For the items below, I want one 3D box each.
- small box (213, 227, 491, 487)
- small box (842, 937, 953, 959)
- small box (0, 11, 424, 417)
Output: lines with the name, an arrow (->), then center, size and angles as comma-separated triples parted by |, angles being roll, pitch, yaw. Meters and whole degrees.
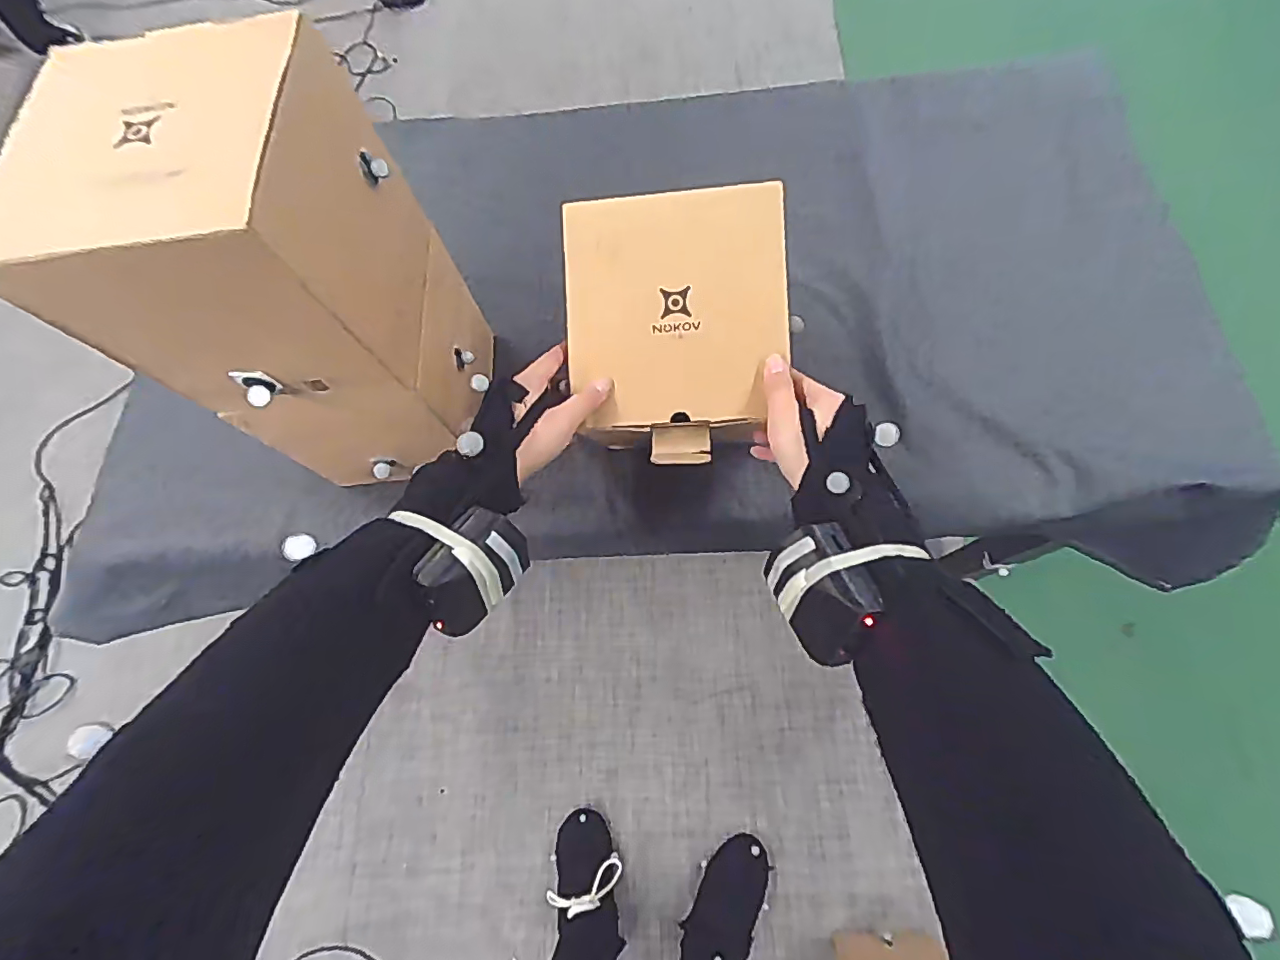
small box -> -0.252, -0.107, 0.523 | 0.168, 0.176, 0.179 | -6, 69, 3
small box -> 0.436, 0.872, 0.870 | 0.179, 0.176, 0.168 | -4, 69, 5
small box -> -0.266, -0.164, 0.372 | 0.168, 0.176, 0.179 | -6, 70, 4
